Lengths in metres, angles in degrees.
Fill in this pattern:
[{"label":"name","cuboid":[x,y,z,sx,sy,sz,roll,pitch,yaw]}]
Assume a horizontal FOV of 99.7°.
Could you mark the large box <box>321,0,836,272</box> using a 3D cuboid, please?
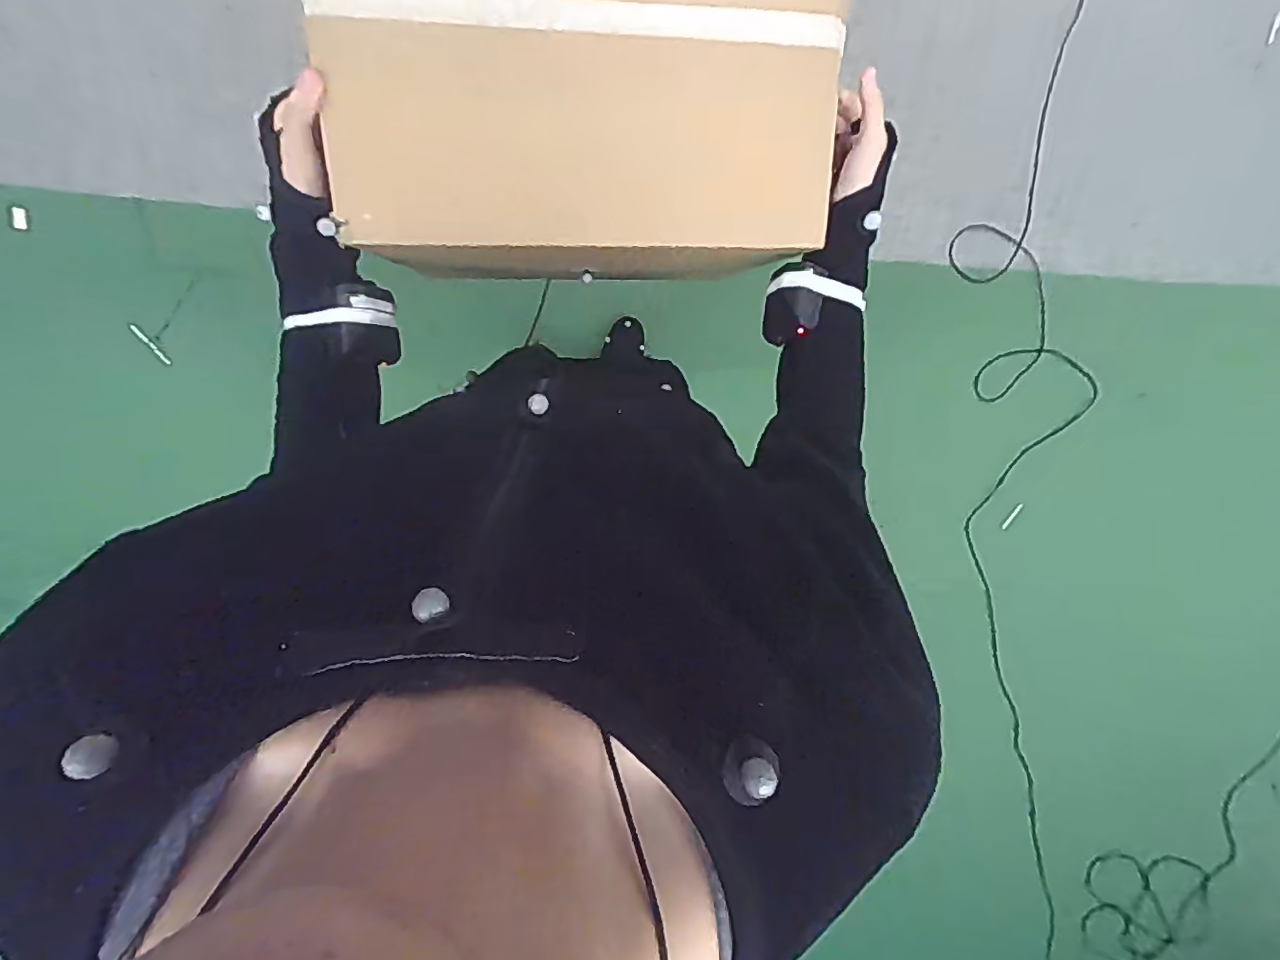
[{"label":"large box","cuboid":[-0.056,-0.391,0.563,0.408,0.320,0.320,-3,106,-8]}]
